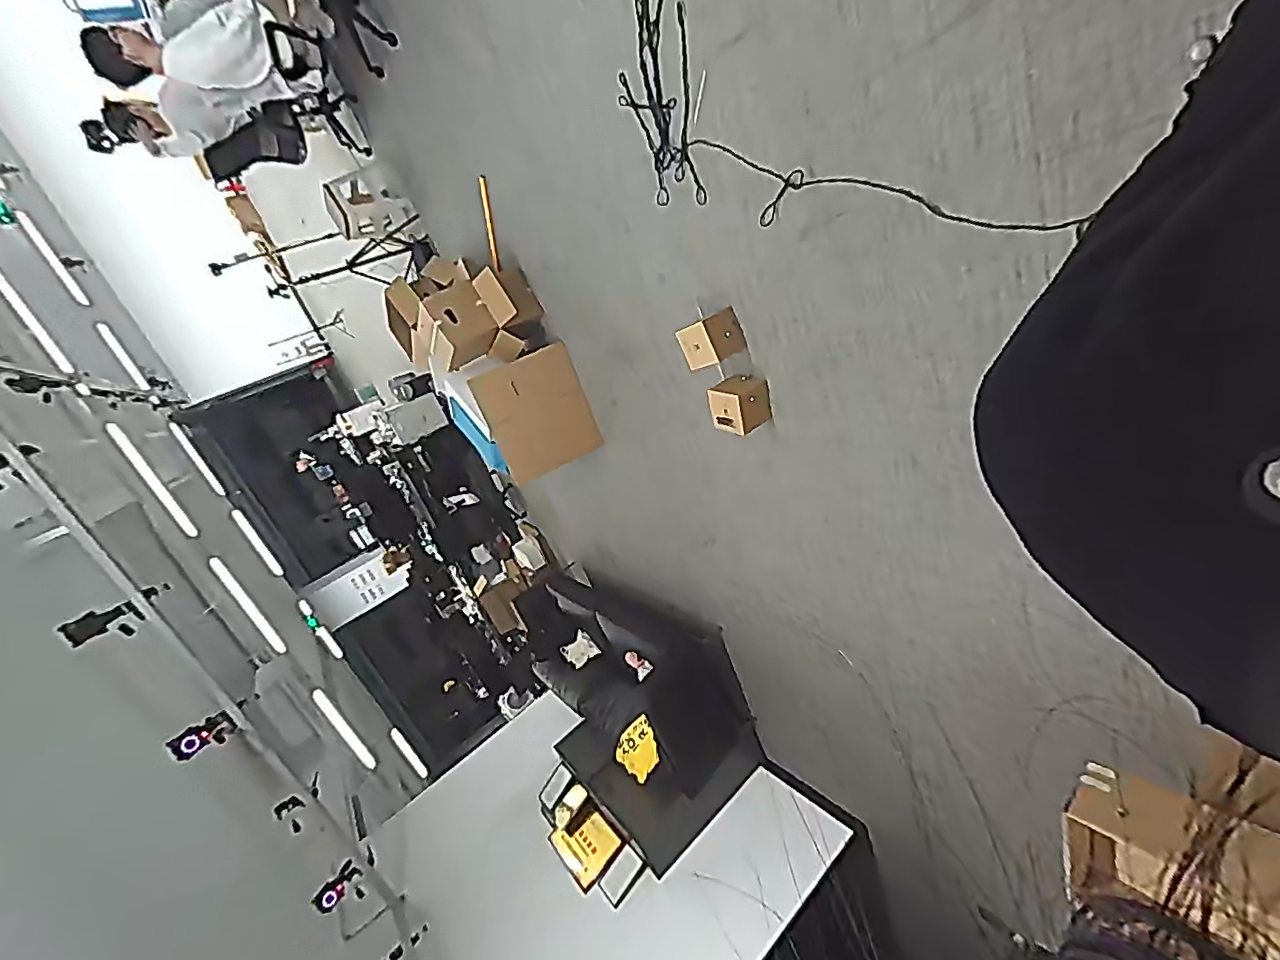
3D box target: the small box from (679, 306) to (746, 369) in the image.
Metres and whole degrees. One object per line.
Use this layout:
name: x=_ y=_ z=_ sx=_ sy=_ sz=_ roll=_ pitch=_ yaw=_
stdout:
small box: x=0.288 y=-0.555 z=2.099 sx=0.179 sy=0.176 sz=0.168 roll=0 pitch=119 yaw=60
